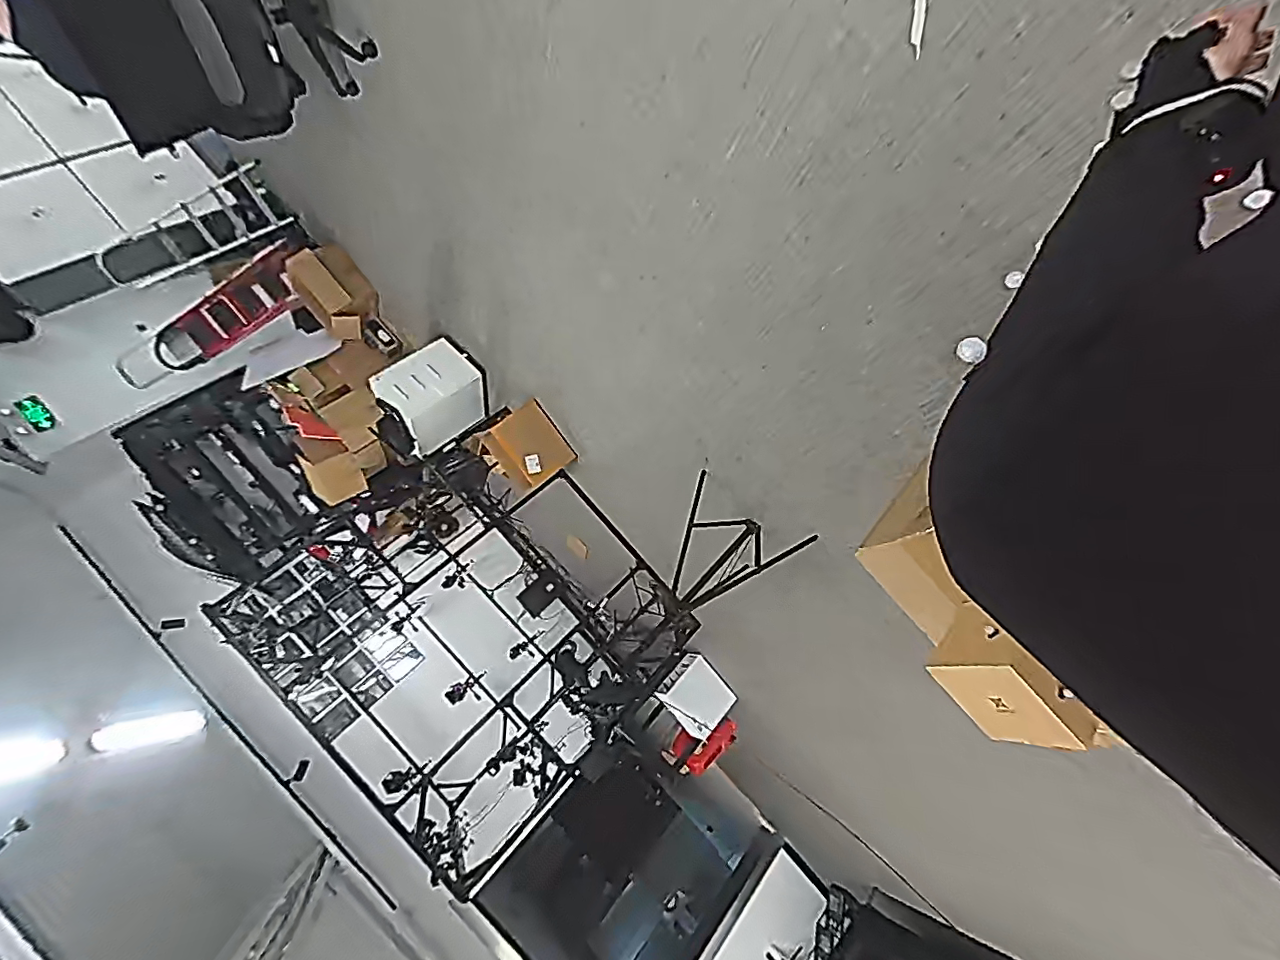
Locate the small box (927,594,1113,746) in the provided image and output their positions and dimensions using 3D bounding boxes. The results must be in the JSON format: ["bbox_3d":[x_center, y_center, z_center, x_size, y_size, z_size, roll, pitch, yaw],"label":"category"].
[{"bbox_3d":[0.638,0.310,0.911,0.179,0.176,0.168,47,153,1],"label":"small box"}]
